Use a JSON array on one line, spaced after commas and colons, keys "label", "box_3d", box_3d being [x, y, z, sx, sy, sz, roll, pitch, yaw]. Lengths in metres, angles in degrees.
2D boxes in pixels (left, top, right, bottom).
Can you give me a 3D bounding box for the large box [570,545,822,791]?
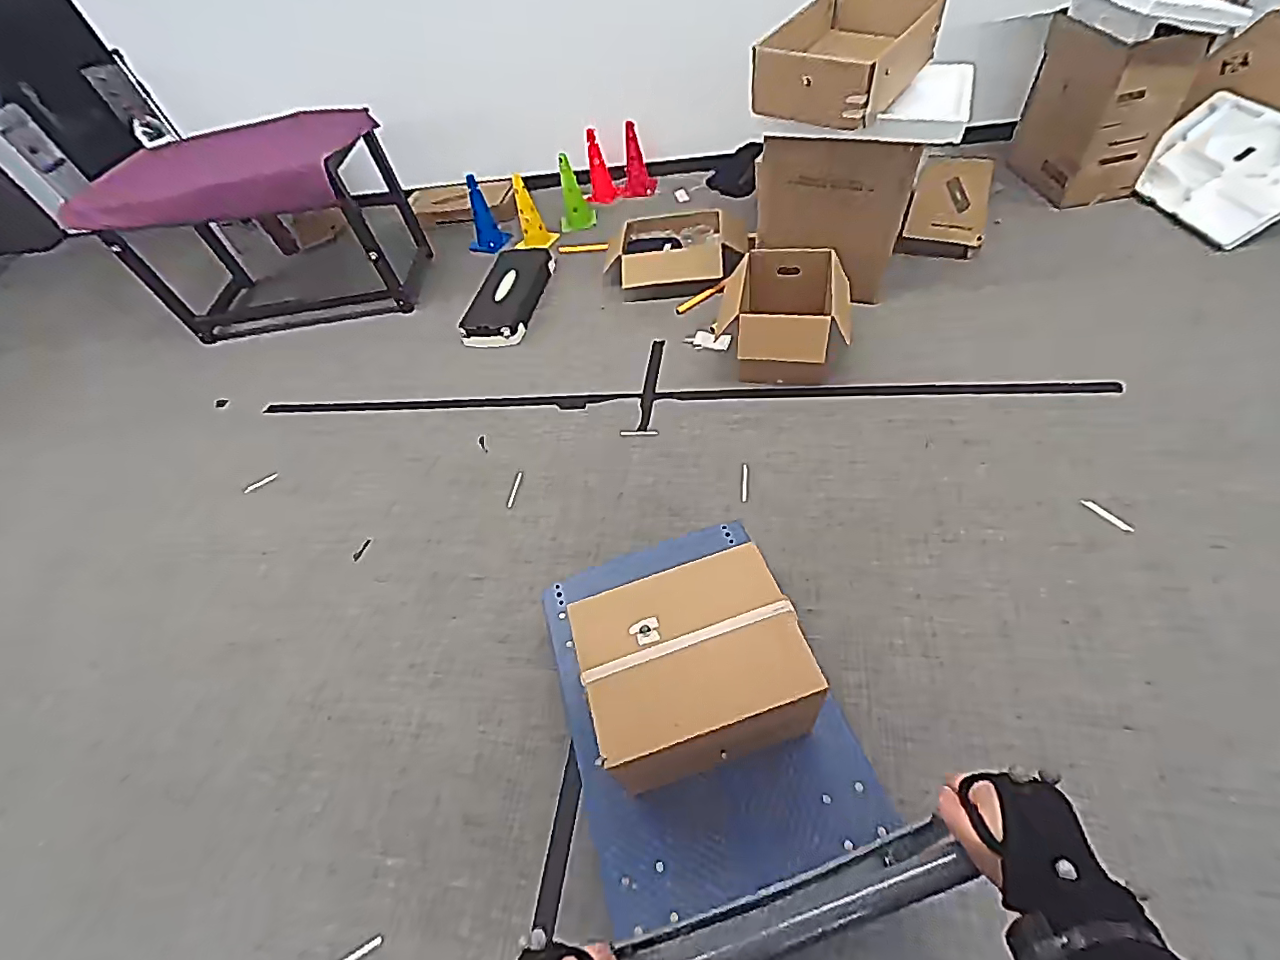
[{"label": "large box", "box_3d": [0.113, 0.398, 1.132, 0.408, 0.320, 0.320, -20, 51, -3]}]
